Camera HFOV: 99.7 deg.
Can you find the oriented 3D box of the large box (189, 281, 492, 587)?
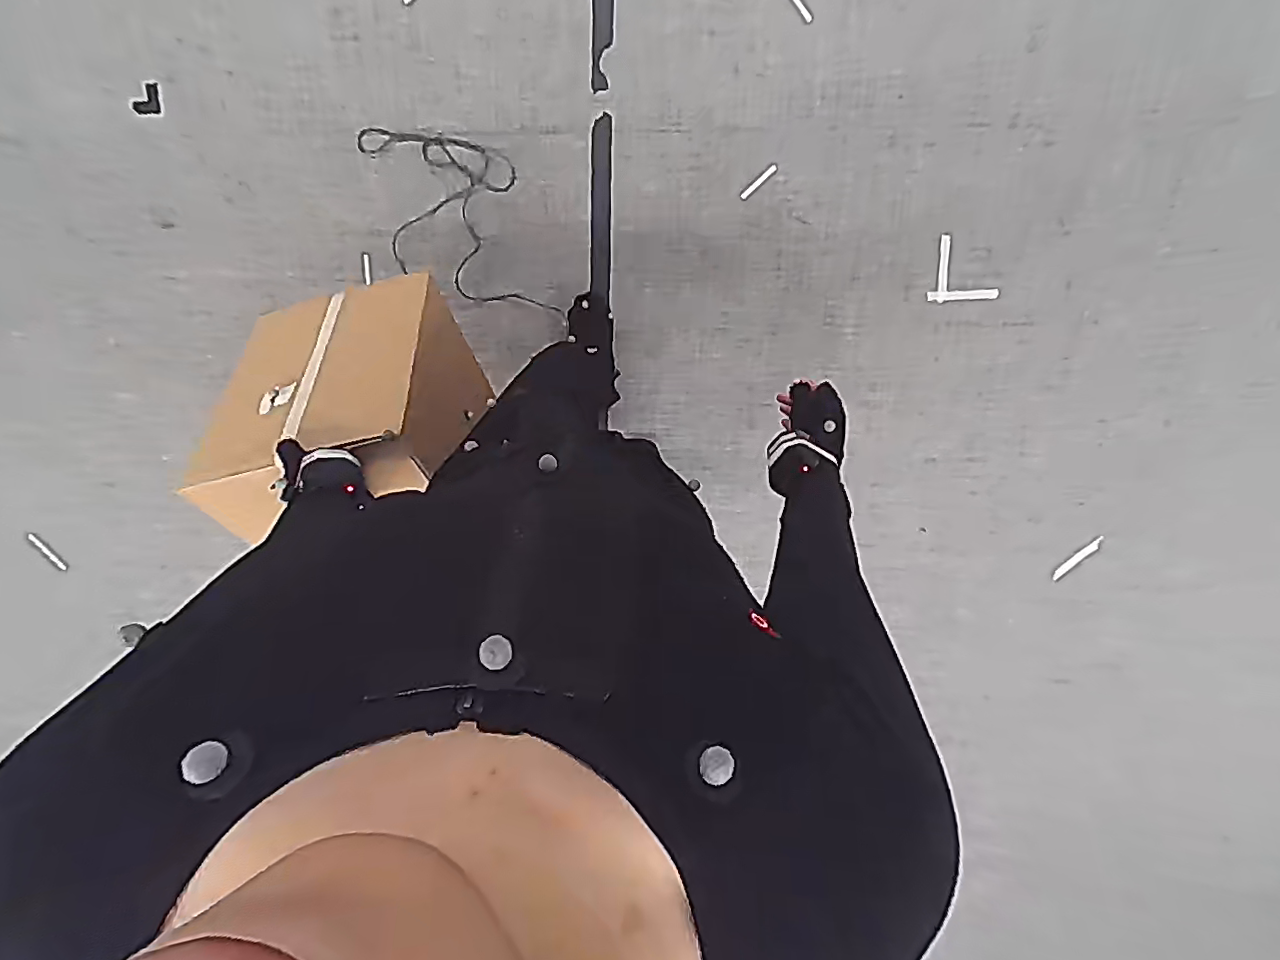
[{"bbox_3d":[-0.465,-0.082,0.957,0.320,0.408,0.320,-14,141,3],"label":"large box"}]
